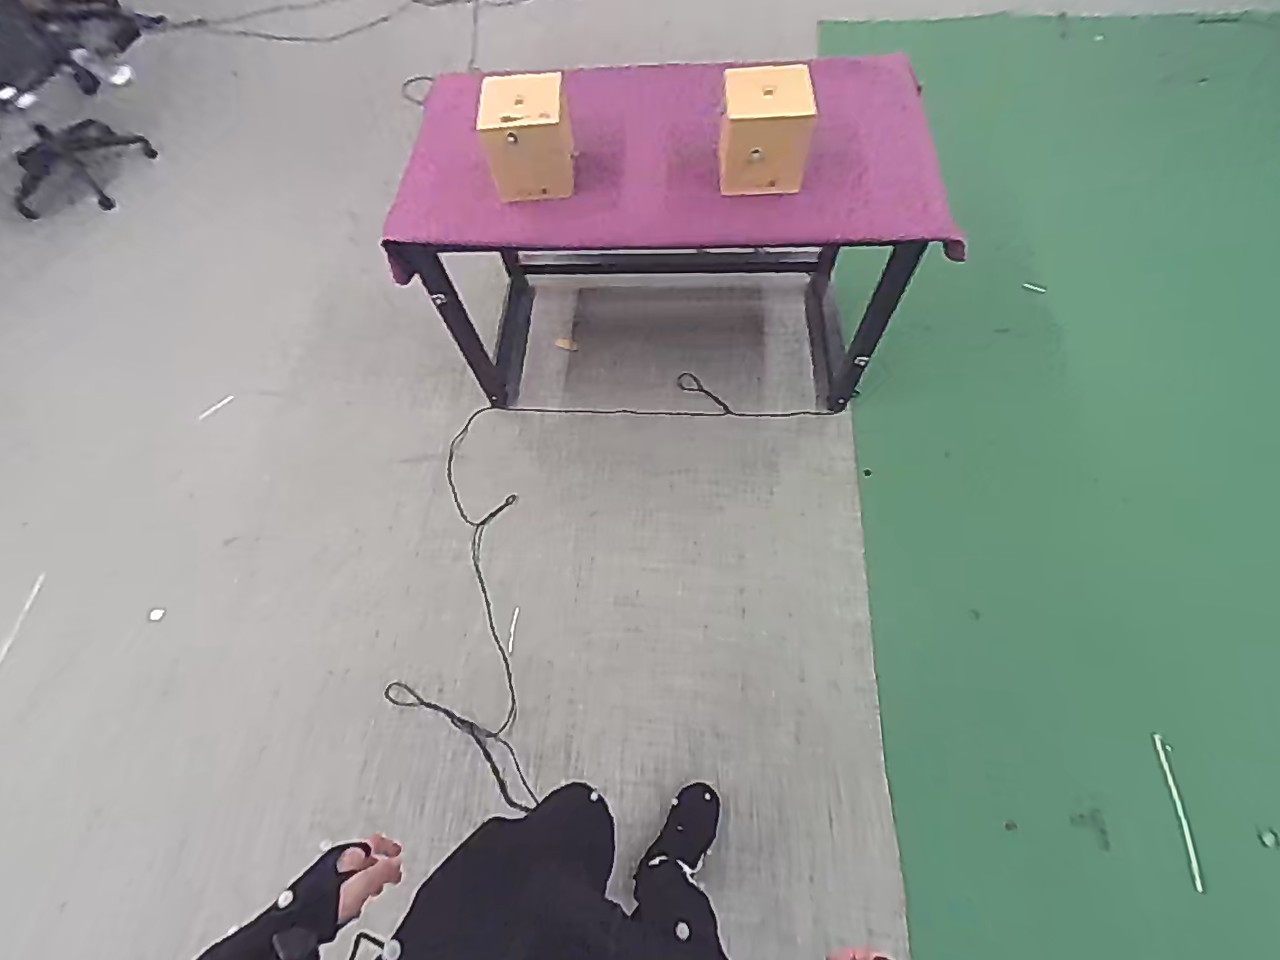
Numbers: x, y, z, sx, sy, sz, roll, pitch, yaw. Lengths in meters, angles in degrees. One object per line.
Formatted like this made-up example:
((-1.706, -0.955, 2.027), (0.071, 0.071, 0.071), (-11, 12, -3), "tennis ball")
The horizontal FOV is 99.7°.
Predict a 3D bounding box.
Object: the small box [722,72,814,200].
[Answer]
((0.262, -0.717, 1.141), (0.168, 0.176, 0.179), (-1, 63, 5), "small box")

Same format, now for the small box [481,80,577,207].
((-0.234, -0.731, 1.183), (0.168, 0.176, 0.179), (-4, 64, 3), "small box")
